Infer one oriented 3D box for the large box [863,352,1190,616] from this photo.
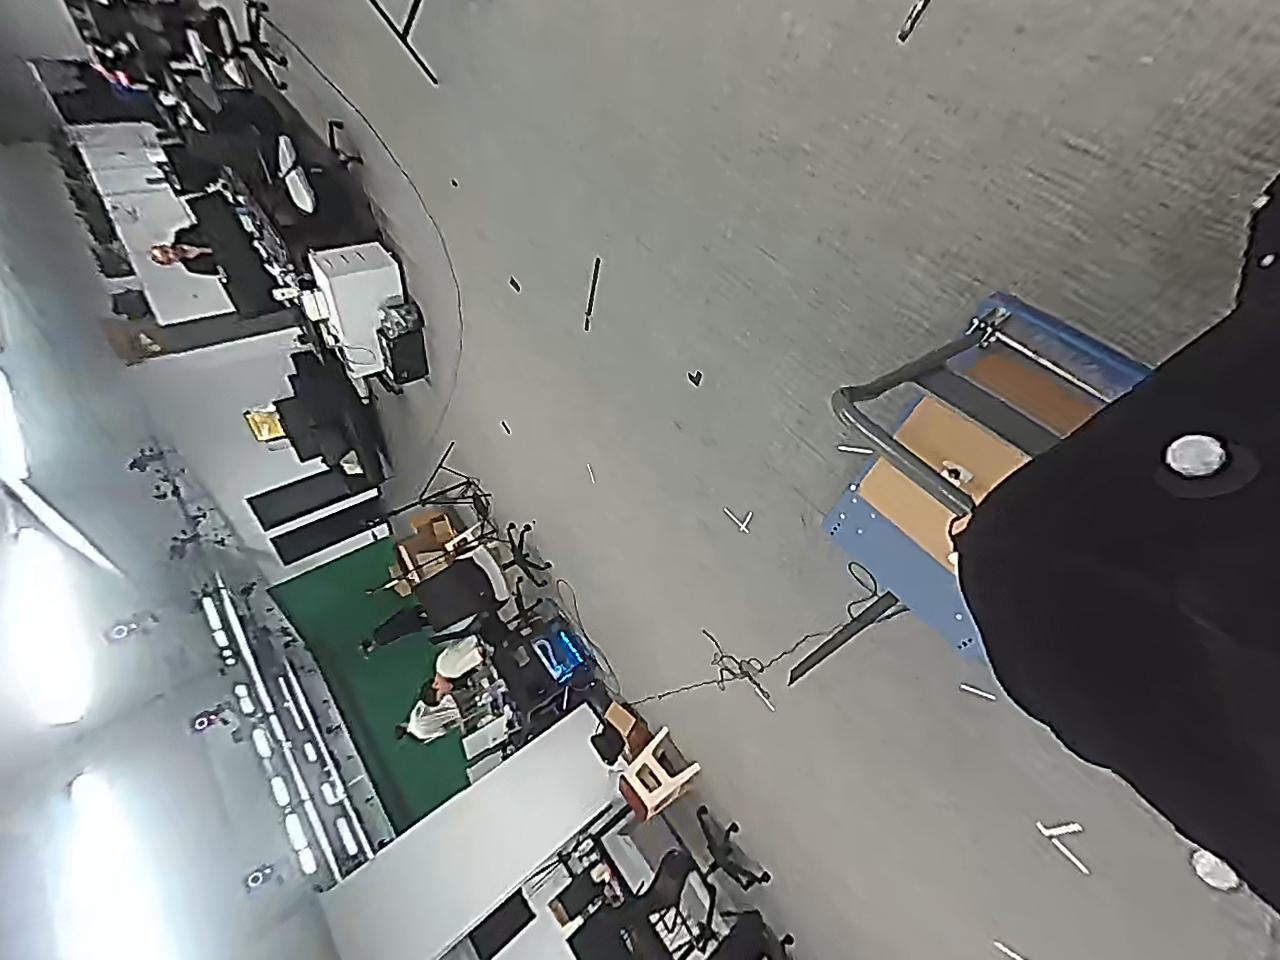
[{"bbox_3d":[0.782,-0.004,1.139,0.408,0.320,0.320,47,145,26],"label":"large box"}]
